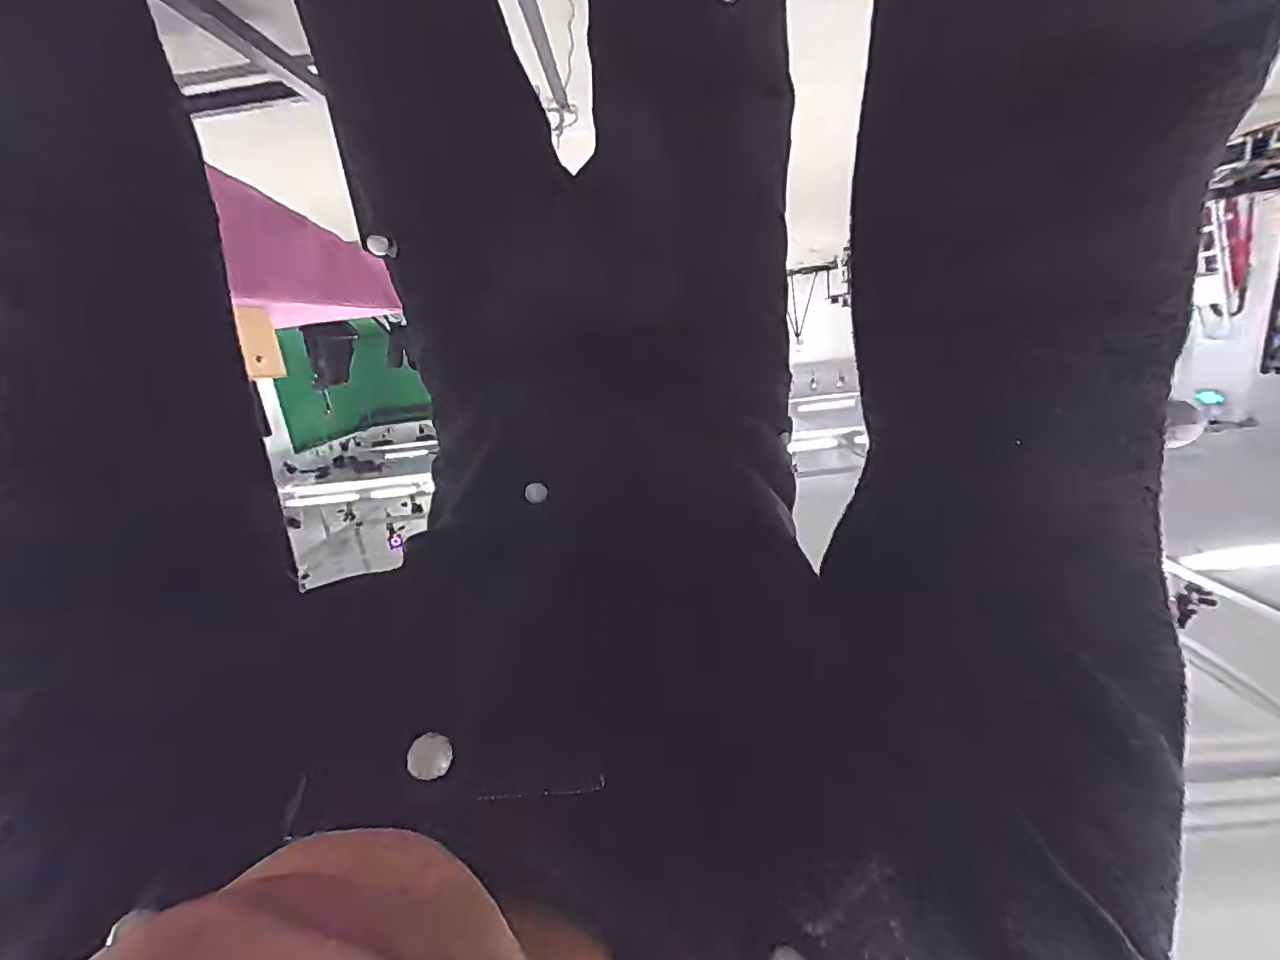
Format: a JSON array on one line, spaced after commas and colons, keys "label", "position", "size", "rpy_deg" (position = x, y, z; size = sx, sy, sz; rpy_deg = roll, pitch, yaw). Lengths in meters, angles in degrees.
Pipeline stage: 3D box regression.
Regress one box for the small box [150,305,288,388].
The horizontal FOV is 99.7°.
[{"label": "small box", "position": [-0.989, -0.320, 1.280], "size": [0.168, 0.176, 0.179], "rpy_deg": [-5, -165, 7]}]
